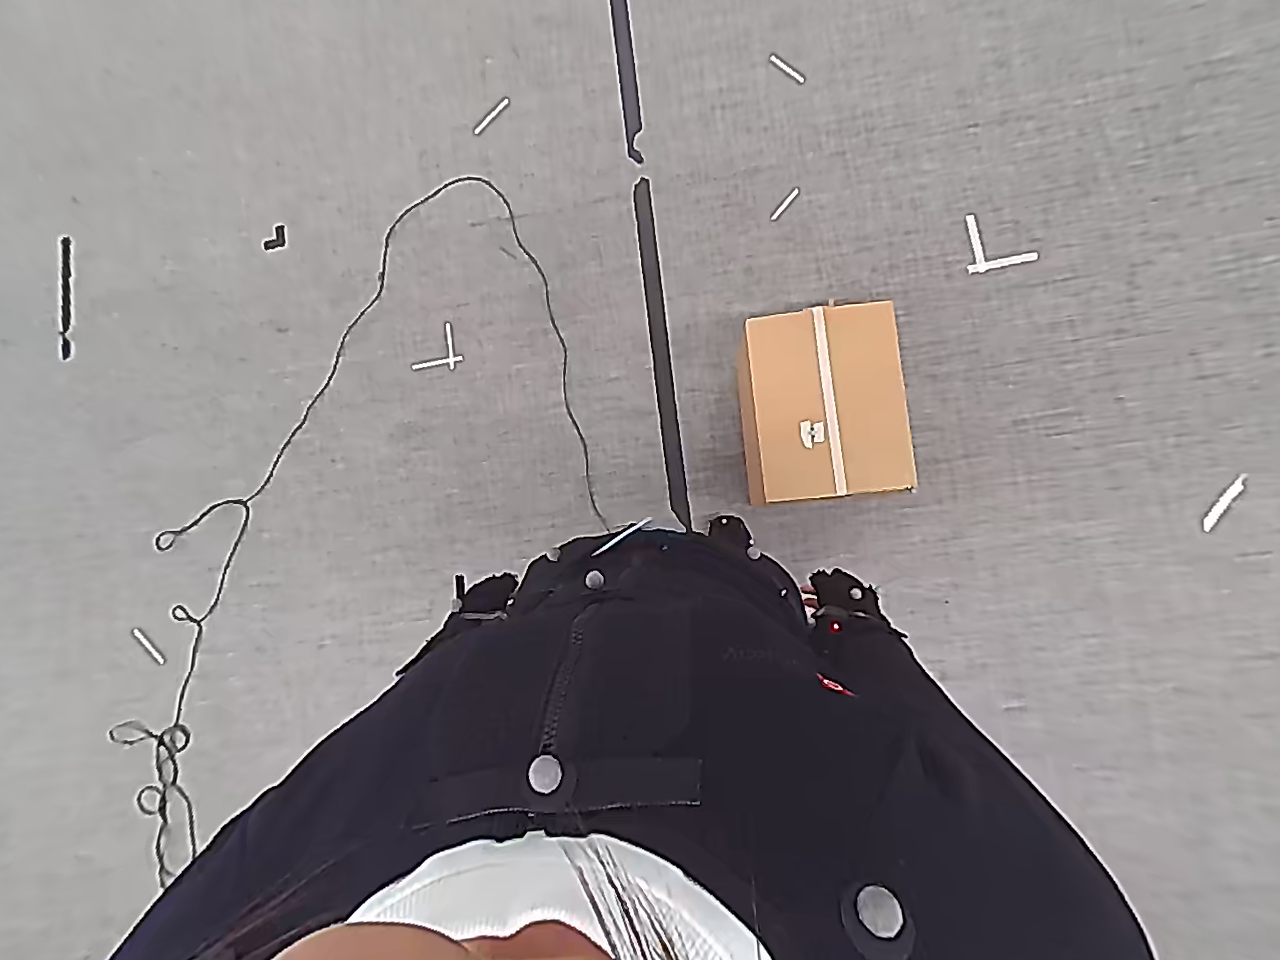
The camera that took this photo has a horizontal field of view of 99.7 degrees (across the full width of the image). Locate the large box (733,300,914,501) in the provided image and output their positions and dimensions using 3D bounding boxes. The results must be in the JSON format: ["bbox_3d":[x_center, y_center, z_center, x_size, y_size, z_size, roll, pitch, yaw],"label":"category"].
[{"bbox_3d":[0.412,-0.166,1.301,0.320,0.320,0.408,-6,86,6],"label":"large box"}]
